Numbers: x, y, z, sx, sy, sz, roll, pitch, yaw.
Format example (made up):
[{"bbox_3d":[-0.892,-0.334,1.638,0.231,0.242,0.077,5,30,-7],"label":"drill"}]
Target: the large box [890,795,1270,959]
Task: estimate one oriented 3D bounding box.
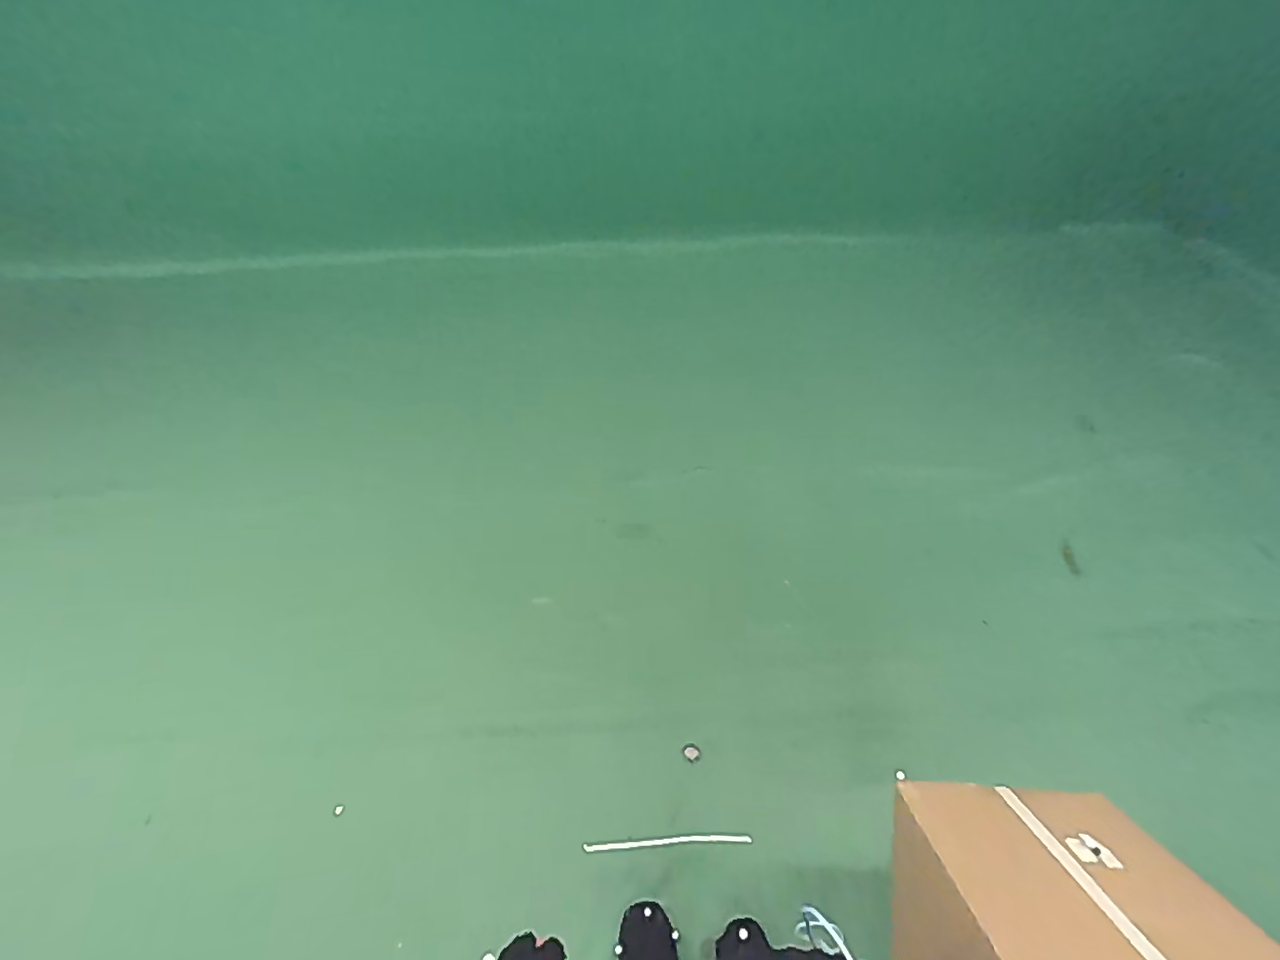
[{"bbox_3d":[0.540,0.668,0.666,0.320,0.408,0.320,2,92,5],"label":"large box"}]
